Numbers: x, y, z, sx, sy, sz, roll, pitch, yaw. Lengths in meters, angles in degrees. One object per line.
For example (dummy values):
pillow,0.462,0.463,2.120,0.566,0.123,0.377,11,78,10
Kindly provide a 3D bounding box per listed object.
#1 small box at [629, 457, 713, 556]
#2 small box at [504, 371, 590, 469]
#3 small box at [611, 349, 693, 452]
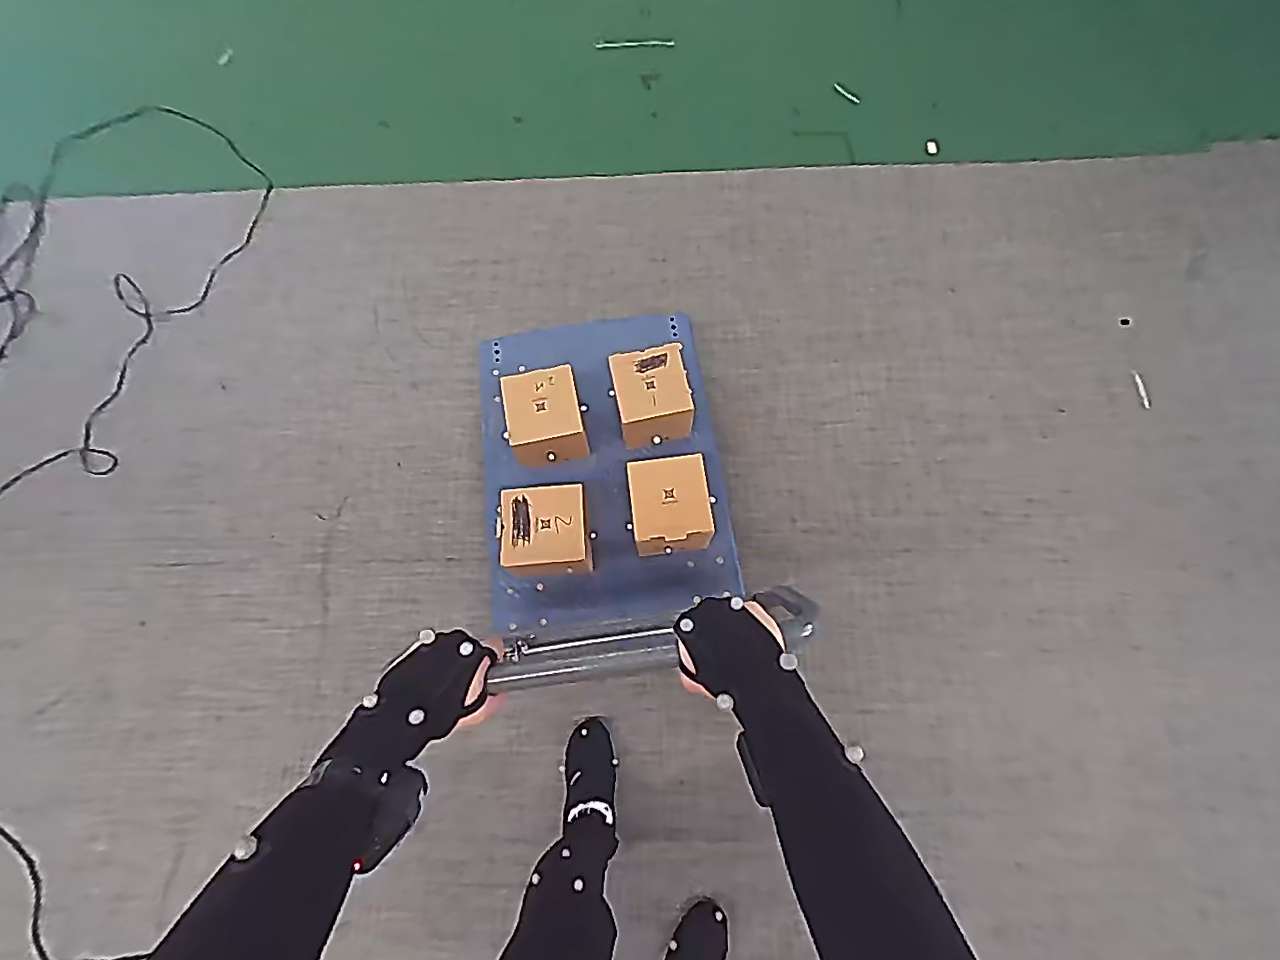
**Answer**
small box,0.066,0.066,1.233,0.168,0.176,0.179,-7,72,-1
small box,-0.219,-0.136,1.308,0.168,0.176,0.179,-11,72,-3
small box,0.027,-0.189,1.317,0.168,0.176,0.179,-12,73,-1
